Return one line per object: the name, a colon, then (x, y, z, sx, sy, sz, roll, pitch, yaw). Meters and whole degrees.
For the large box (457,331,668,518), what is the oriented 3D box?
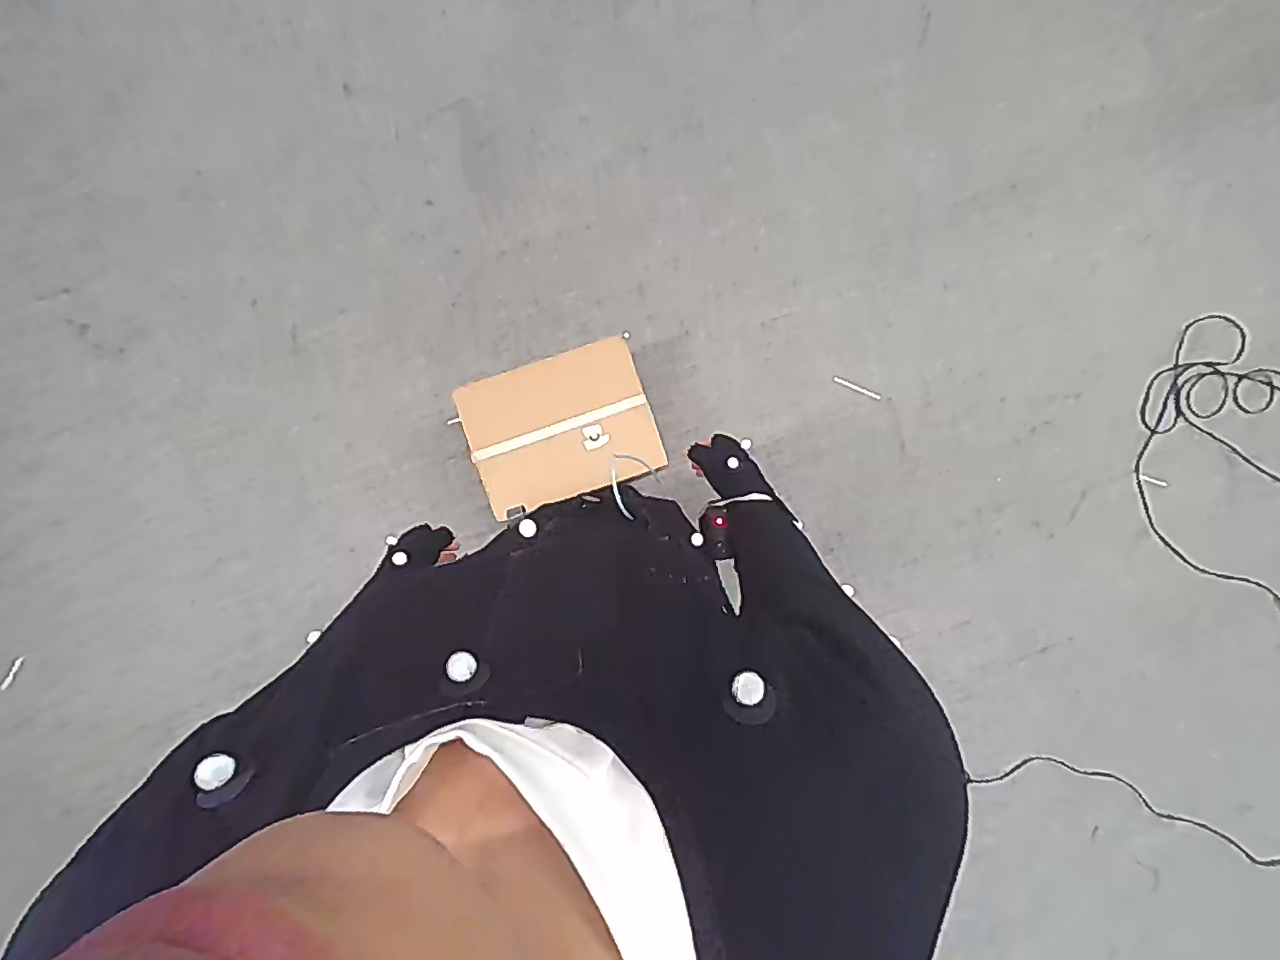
large box: (-0.176, -0.121, 1.344, 0.408, 0.320, 0.320, -19, 90, -2)
